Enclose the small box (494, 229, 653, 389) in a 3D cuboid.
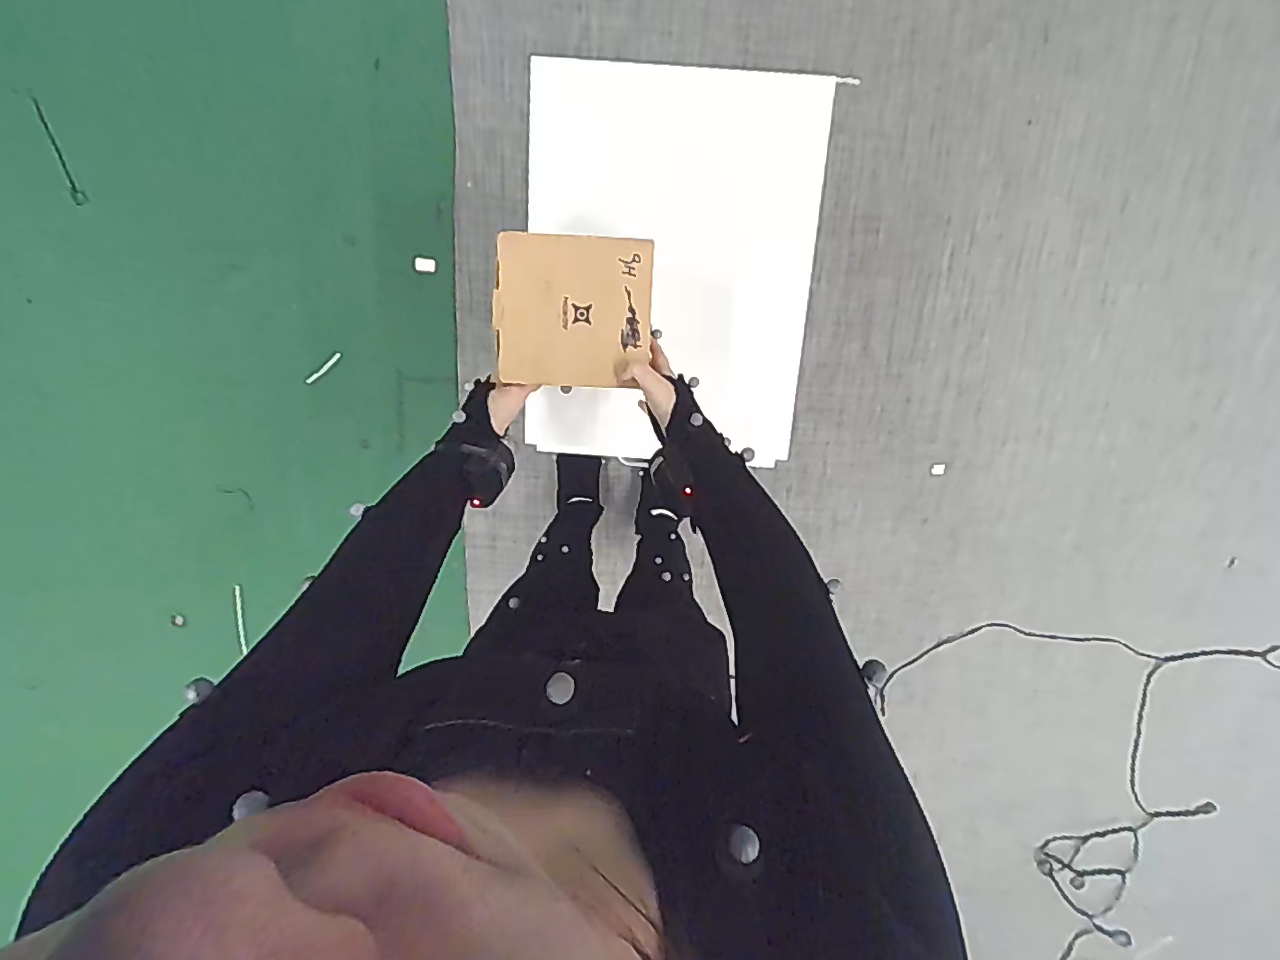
[{"bbox_3d":[-0.077,-0.206,0.687,0.179,0.176,0.168,3,103,-1],"label":"small box"}]
